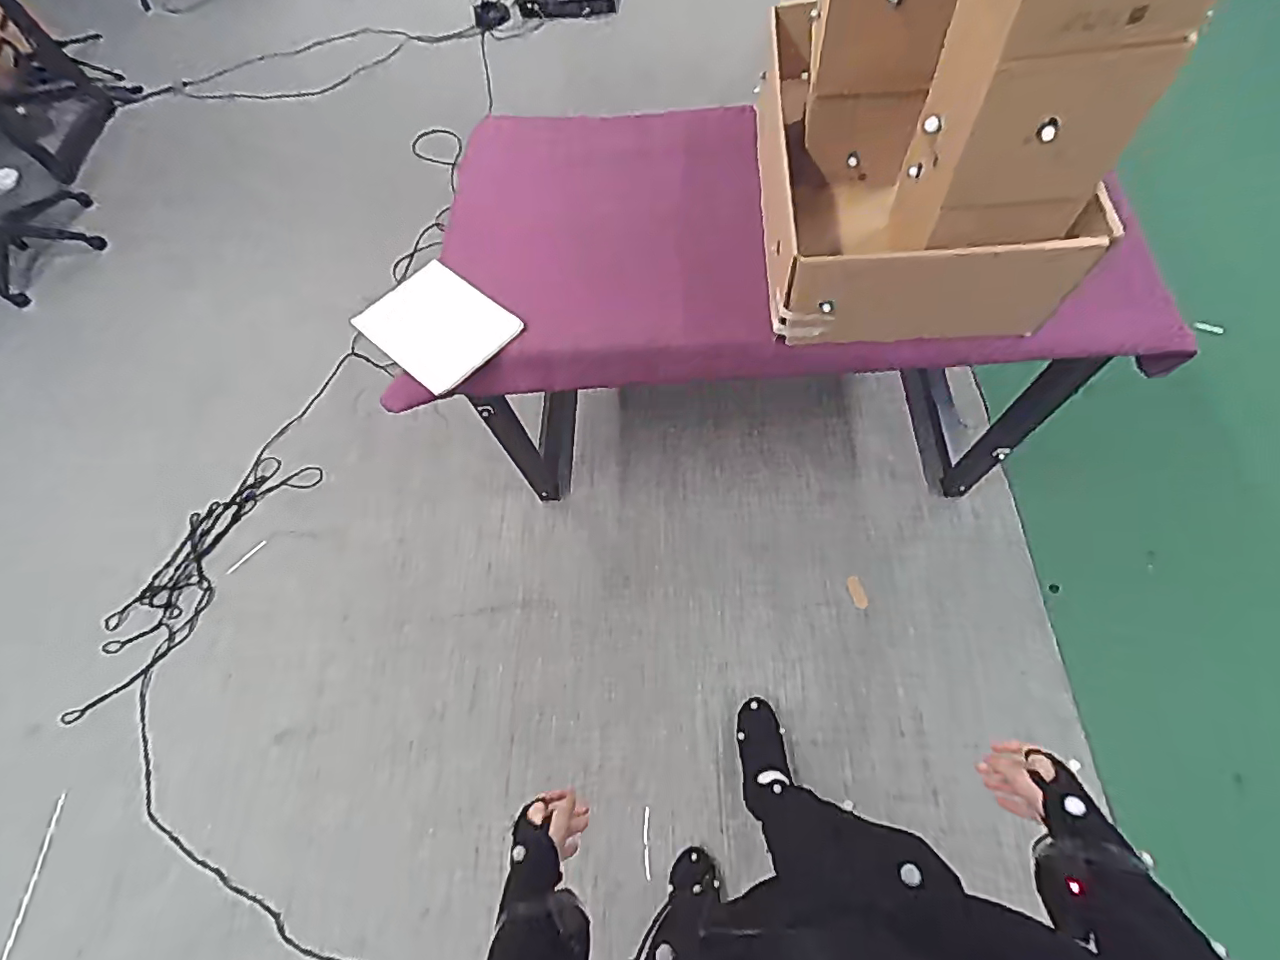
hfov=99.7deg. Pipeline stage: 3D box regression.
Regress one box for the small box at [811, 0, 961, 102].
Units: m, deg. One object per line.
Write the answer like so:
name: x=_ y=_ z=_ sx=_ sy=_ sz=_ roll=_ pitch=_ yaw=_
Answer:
small box: x=0.343 y=-0.662 z=0.748 sx=0.179 sy=0.176 sz=0.168 roll=4 pitch=69 yaw=10

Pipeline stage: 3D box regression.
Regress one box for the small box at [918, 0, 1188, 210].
small box: x=0.449 y=-0.443 z=0.626 sx=0.179 sy=0.176 sz=0.168 roll=-1 pitch=65 yaw=10

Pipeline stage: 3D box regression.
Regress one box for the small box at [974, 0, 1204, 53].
small box: x=0.424 y=-0.518 z=0.484 sx=0.168 sy=0.176 sz=0.179 roll=0 pitch=64 yaw=9
